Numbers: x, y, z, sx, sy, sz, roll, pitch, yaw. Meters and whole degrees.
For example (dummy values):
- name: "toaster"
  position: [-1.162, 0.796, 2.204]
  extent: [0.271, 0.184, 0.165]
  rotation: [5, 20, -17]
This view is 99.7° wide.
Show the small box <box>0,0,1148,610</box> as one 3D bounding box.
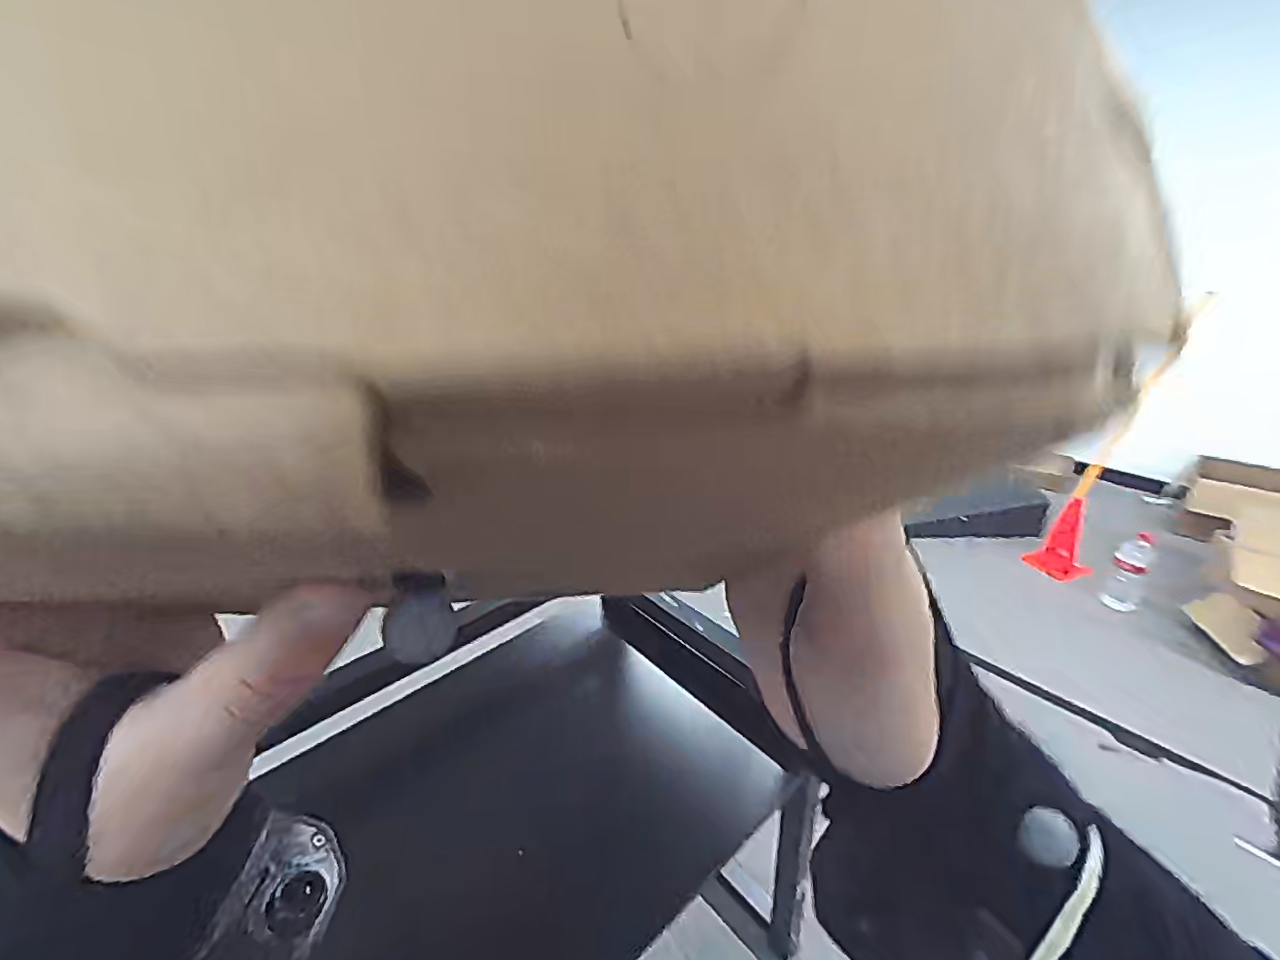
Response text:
- name: "small box"
  position: [-0.048, -0.059, 0.137]
  extent: [0.168, 0.179, 0.176]
  rotation: [-2, -15, -6]
